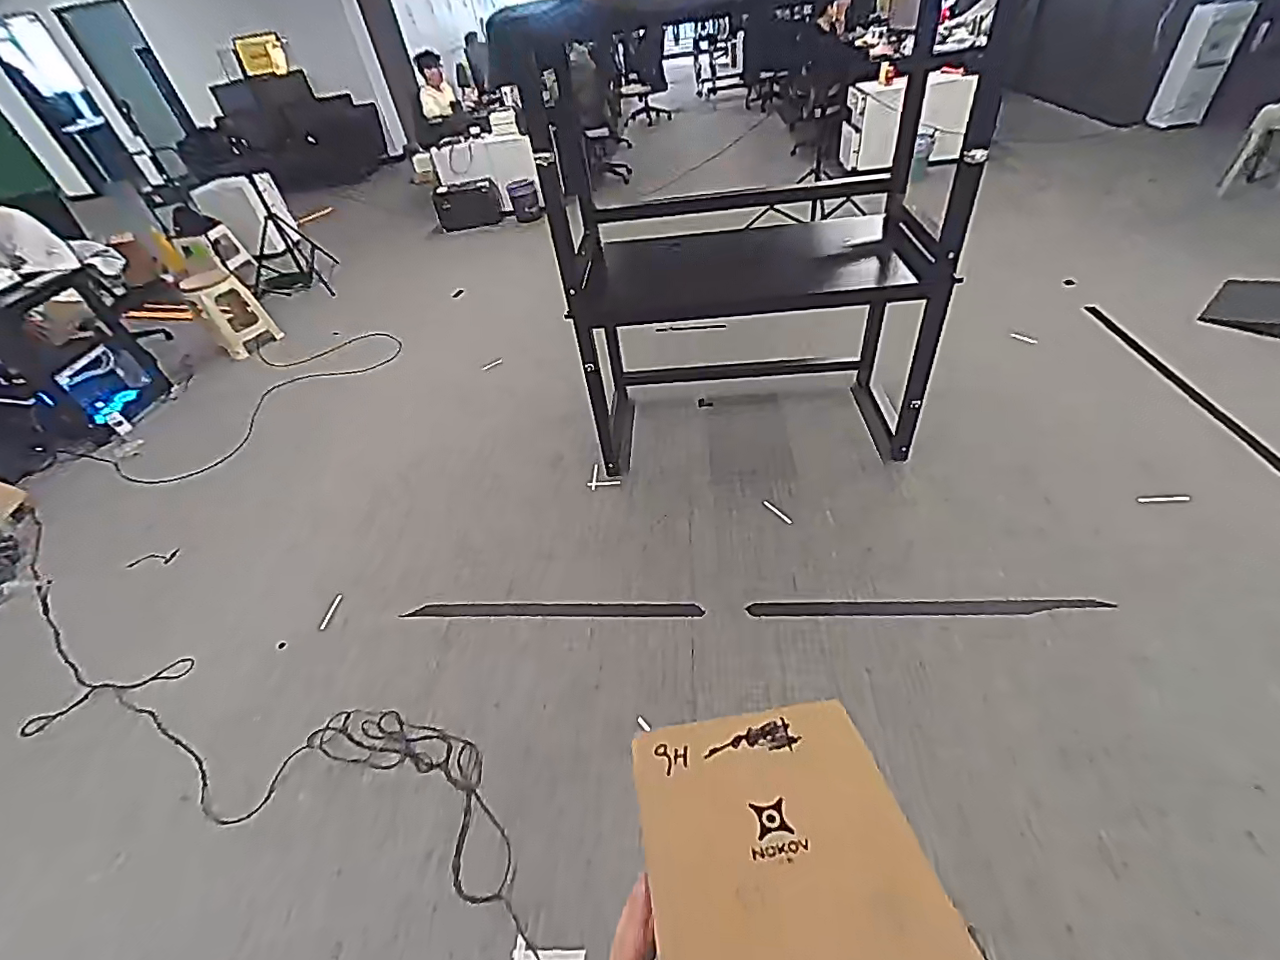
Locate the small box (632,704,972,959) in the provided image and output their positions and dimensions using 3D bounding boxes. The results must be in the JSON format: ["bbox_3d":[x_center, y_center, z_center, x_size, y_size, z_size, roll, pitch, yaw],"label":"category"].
[{"bbox_3d":[0.090,0.293,0.374,0.168,0.176,0.179,-7,30,-4],"label":"small box"}]
